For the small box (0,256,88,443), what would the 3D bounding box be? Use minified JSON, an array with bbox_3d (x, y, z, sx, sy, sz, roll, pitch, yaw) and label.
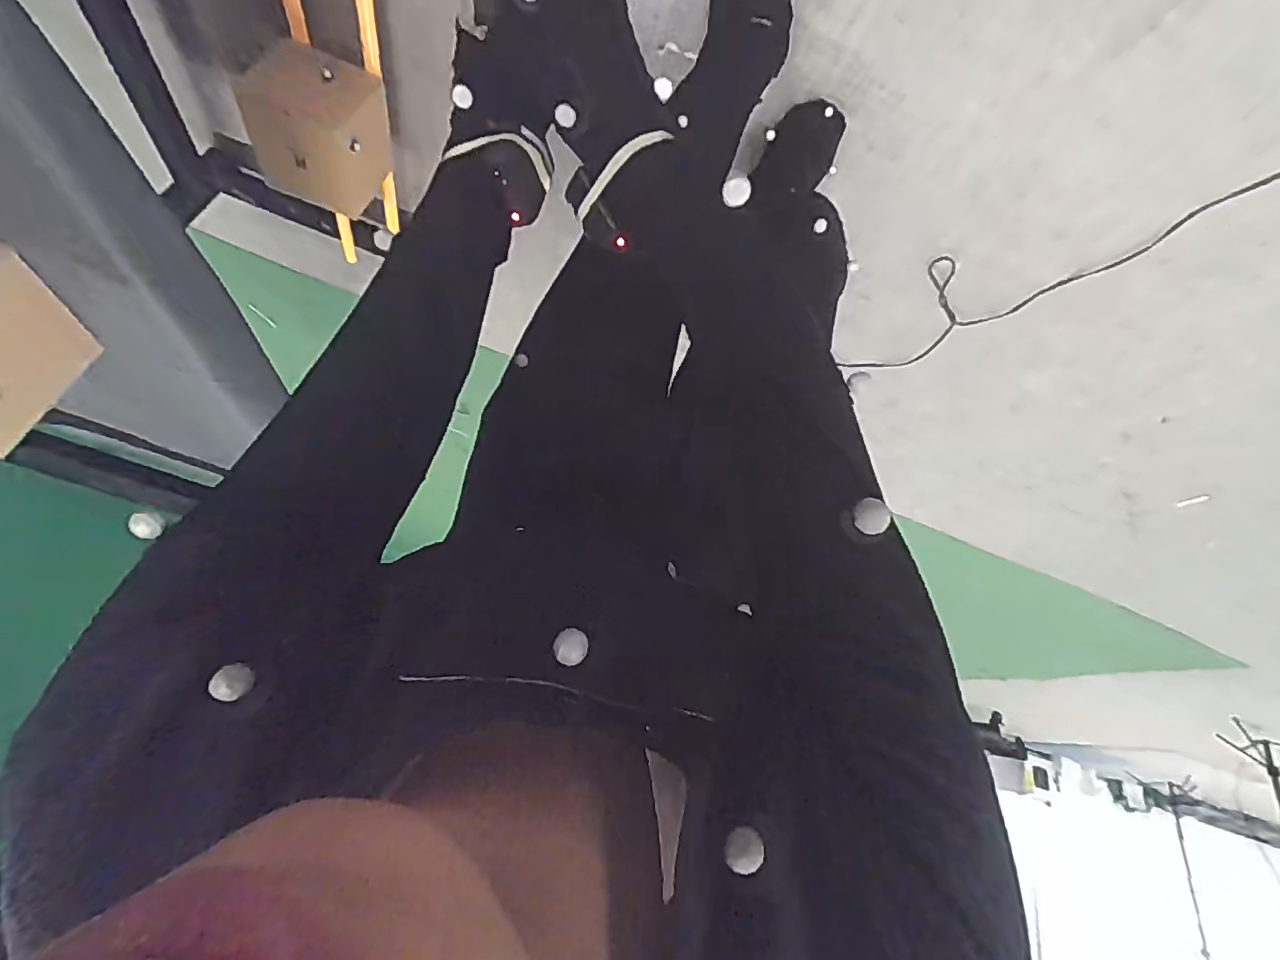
[{"bbox_3d":[-0.723,-0.150,0.530,0.168,0.176,0.179,22,153,-12],"label":"small box"}]
